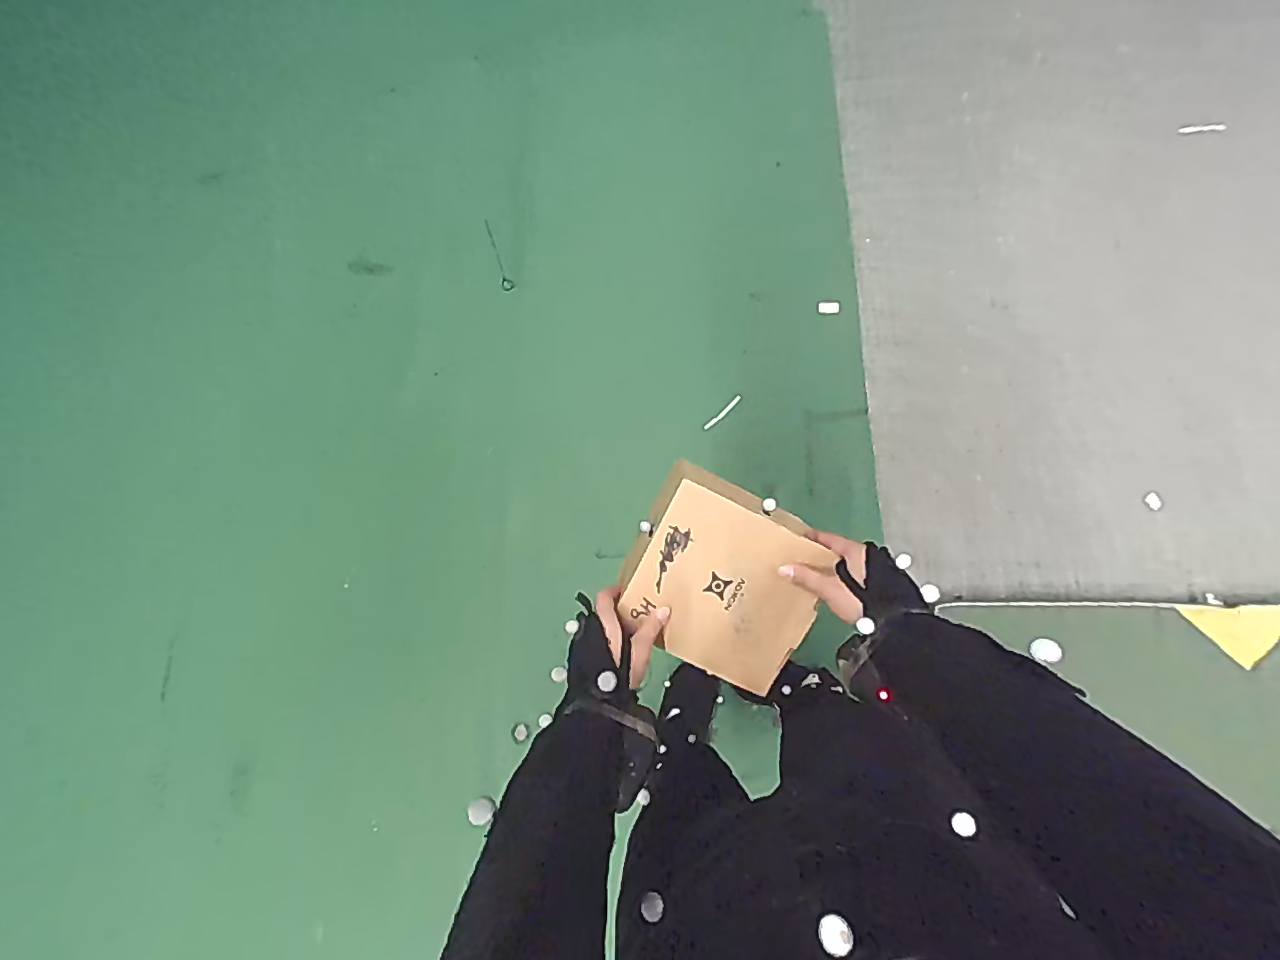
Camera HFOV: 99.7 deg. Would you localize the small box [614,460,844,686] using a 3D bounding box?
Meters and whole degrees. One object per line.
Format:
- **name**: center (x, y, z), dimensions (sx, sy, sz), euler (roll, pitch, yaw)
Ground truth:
- **small box**: center (0.089, 0.088, 0.609), dimensions (0.179, 0.176, 0.168), euler (26, 99, -2)
